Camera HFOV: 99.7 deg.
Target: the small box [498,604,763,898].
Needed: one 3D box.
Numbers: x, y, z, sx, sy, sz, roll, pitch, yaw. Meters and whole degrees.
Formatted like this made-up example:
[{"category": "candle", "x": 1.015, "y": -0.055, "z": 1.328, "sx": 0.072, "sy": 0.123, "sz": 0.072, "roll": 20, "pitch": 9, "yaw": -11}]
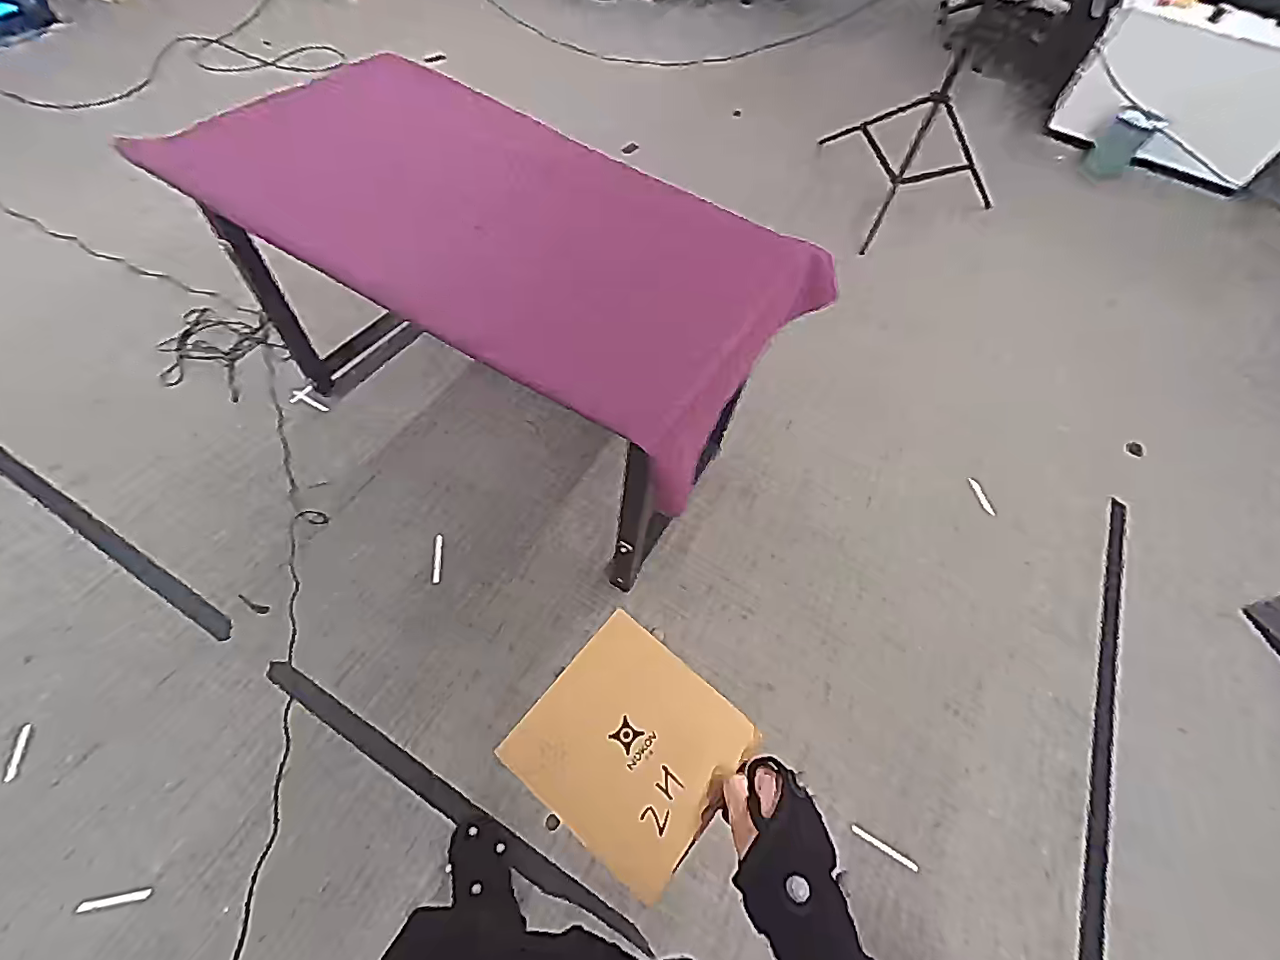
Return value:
[{"category": "small box", "x": -0.013, "y": 0.257, "z": 0.540, "sx": 0.179, "sy": 0.176, "sz": 0.168, "roll": 38, "pitch": 68, "yaw": 12}]
